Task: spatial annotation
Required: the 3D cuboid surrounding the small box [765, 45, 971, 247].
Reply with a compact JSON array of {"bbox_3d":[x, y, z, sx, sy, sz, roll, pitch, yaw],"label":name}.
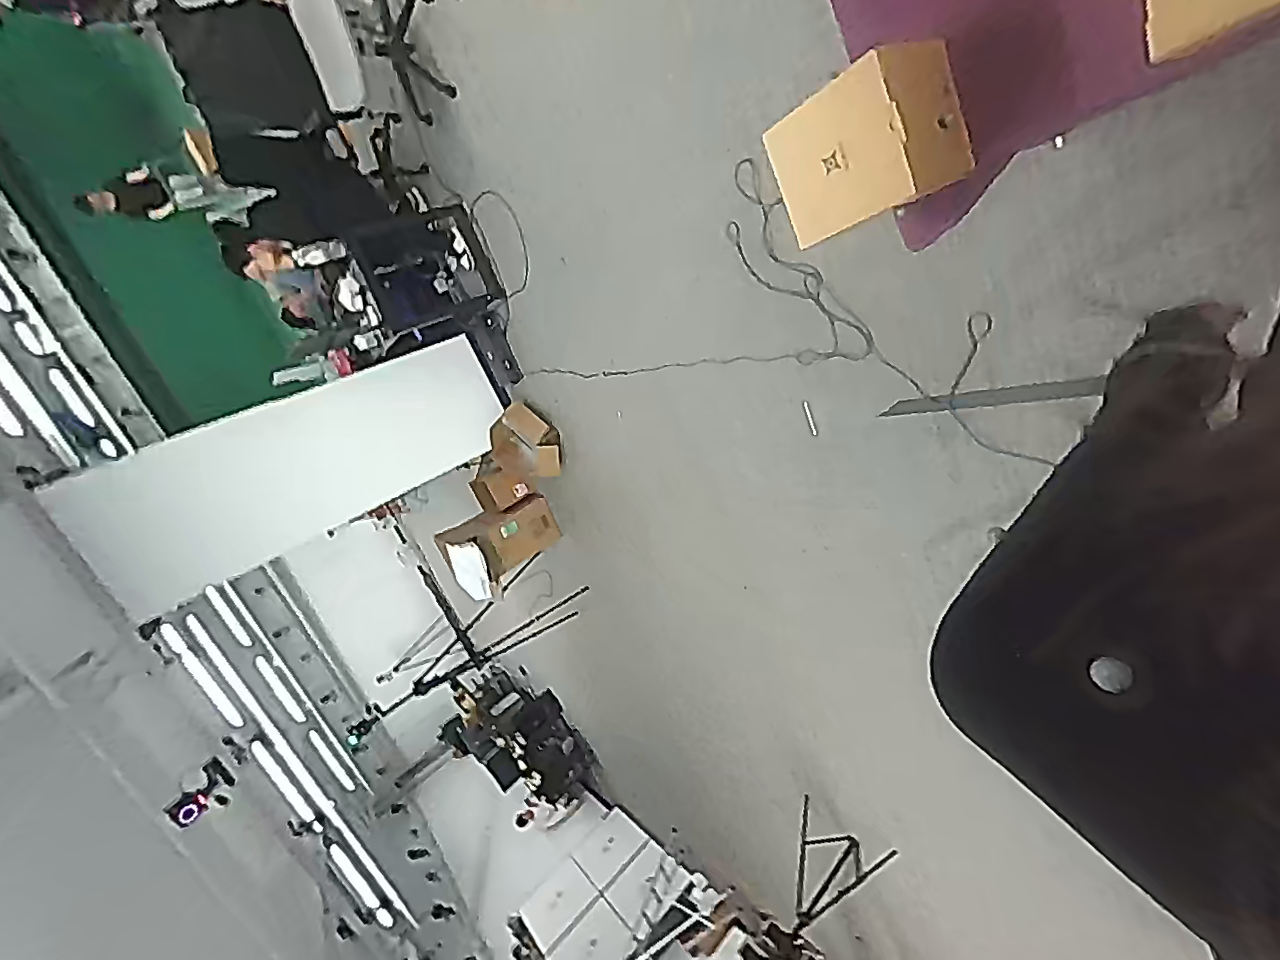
[{"bbox_3d":[0.309,-0.445,0.734,0.179,0.176,0.168,-5,113,55],"label":"small box"}]
